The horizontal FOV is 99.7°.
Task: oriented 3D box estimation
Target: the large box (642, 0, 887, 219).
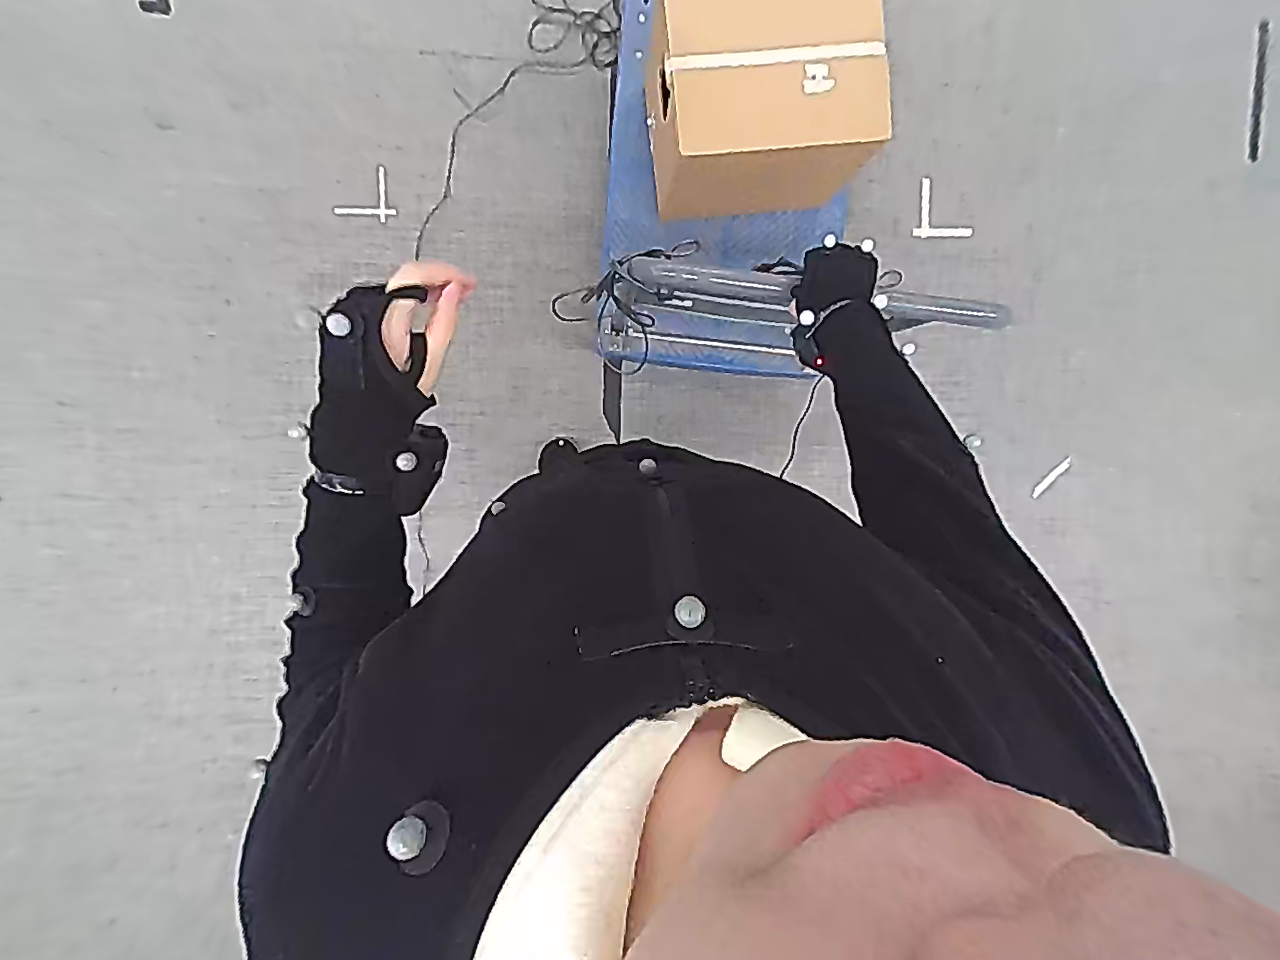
[{"bbox_3d":[0.233,-0.774,1.126,0.408,0.320,0.320,-7,96,-5],"label":"large box"}]
